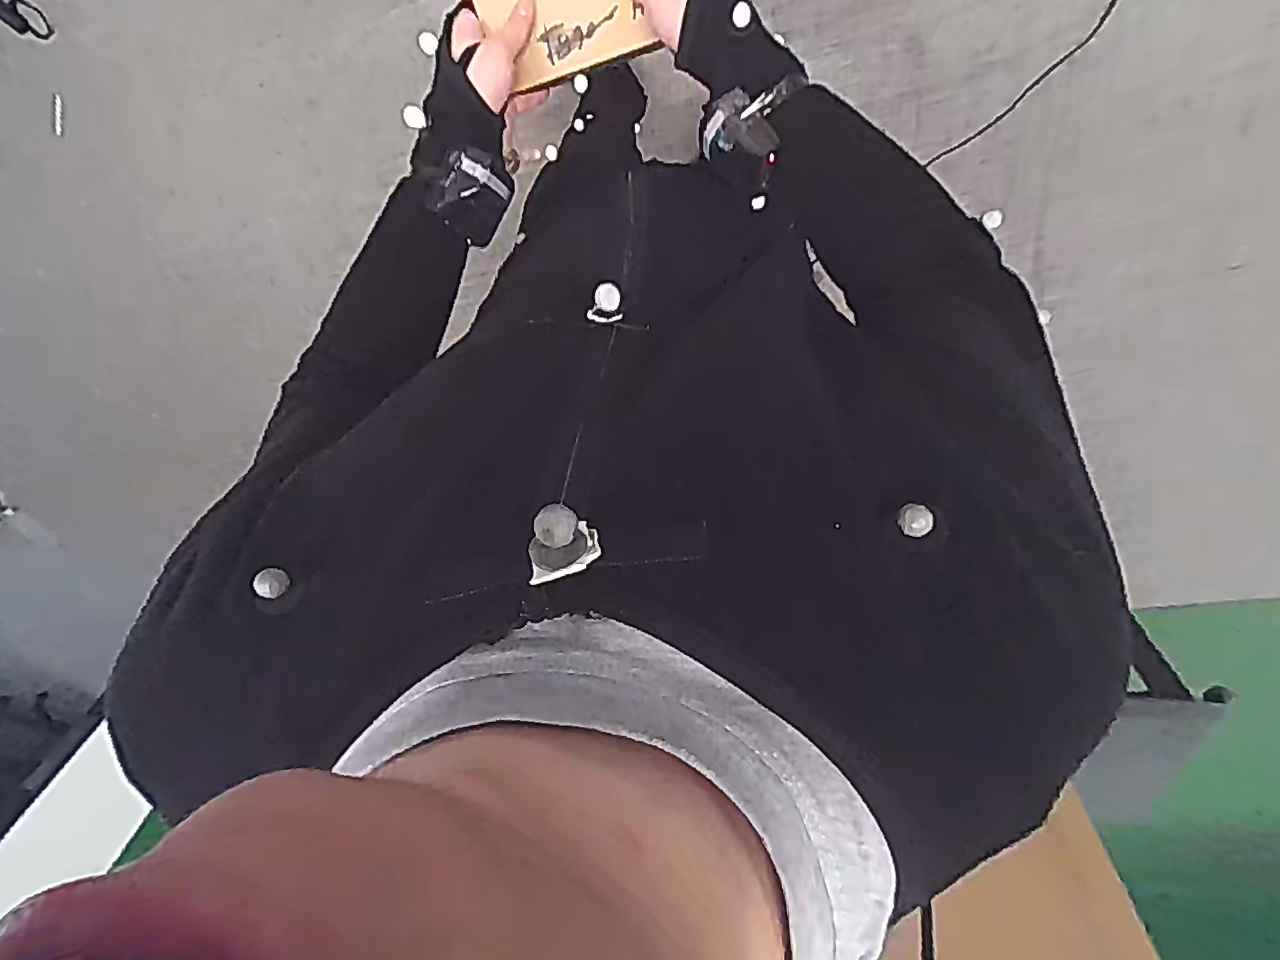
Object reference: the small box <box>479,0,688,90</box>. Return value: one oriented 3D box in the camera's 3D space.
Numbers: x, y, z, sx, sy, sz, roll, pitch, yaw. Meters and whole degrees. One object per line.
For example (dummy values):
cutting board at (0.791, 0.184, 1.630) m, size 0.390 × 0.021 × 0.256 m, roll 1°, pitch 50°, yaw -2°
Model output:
small box at (-0.055, -0.473, 0.481) m, size 0.168 × 0.176 × 0.179 m, roll -10°, pitch 126°, yaw 12°
